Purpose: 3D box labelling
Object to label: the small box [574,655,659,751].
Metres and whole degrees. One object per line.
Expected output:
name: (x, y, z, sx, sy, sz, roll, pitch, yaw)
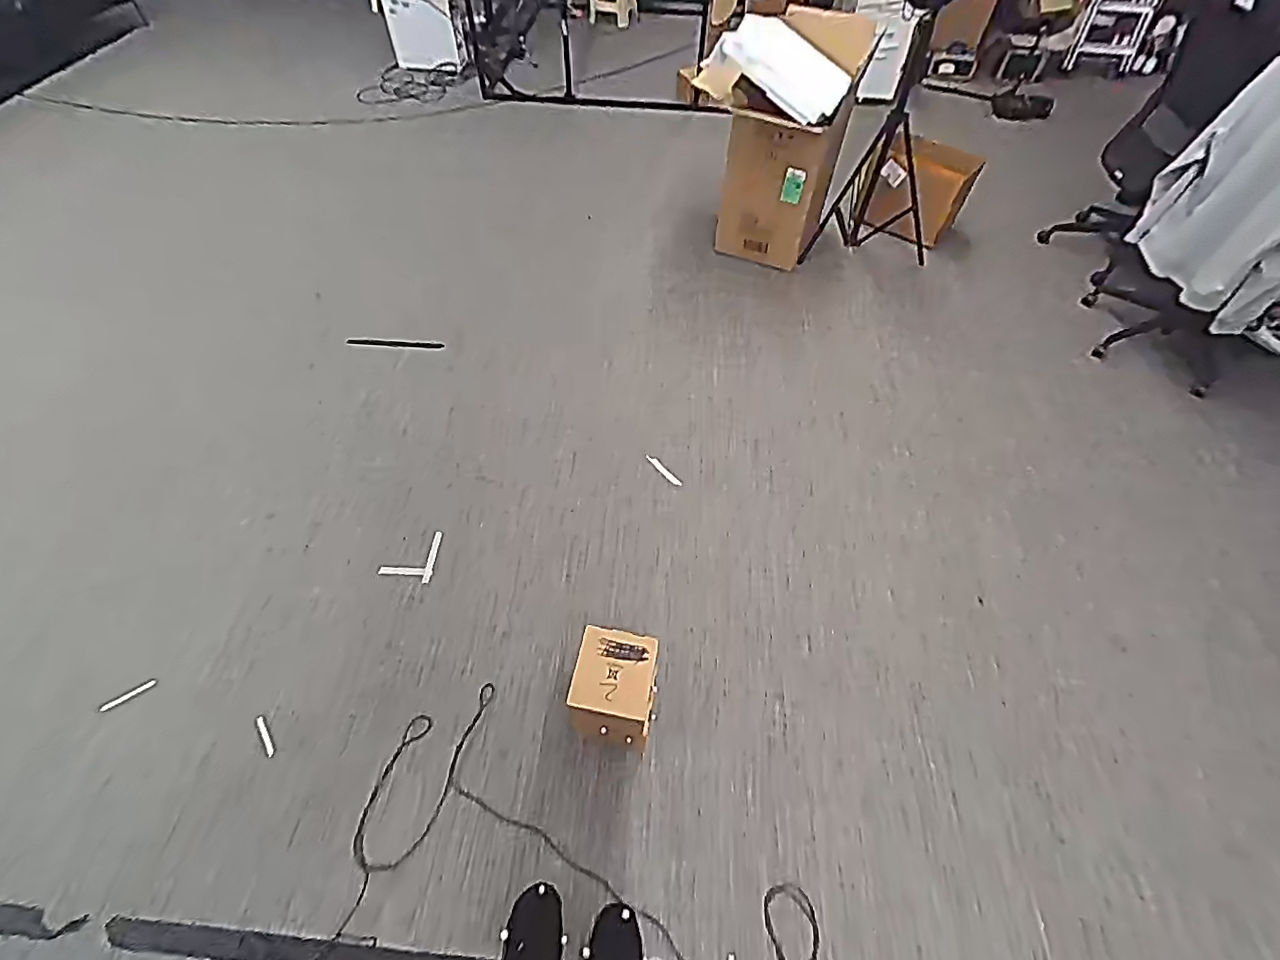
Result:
small box: (-0.054, 0.554, 1.332, 0.179, 0.176, 0.168, 9, 54, 5)
